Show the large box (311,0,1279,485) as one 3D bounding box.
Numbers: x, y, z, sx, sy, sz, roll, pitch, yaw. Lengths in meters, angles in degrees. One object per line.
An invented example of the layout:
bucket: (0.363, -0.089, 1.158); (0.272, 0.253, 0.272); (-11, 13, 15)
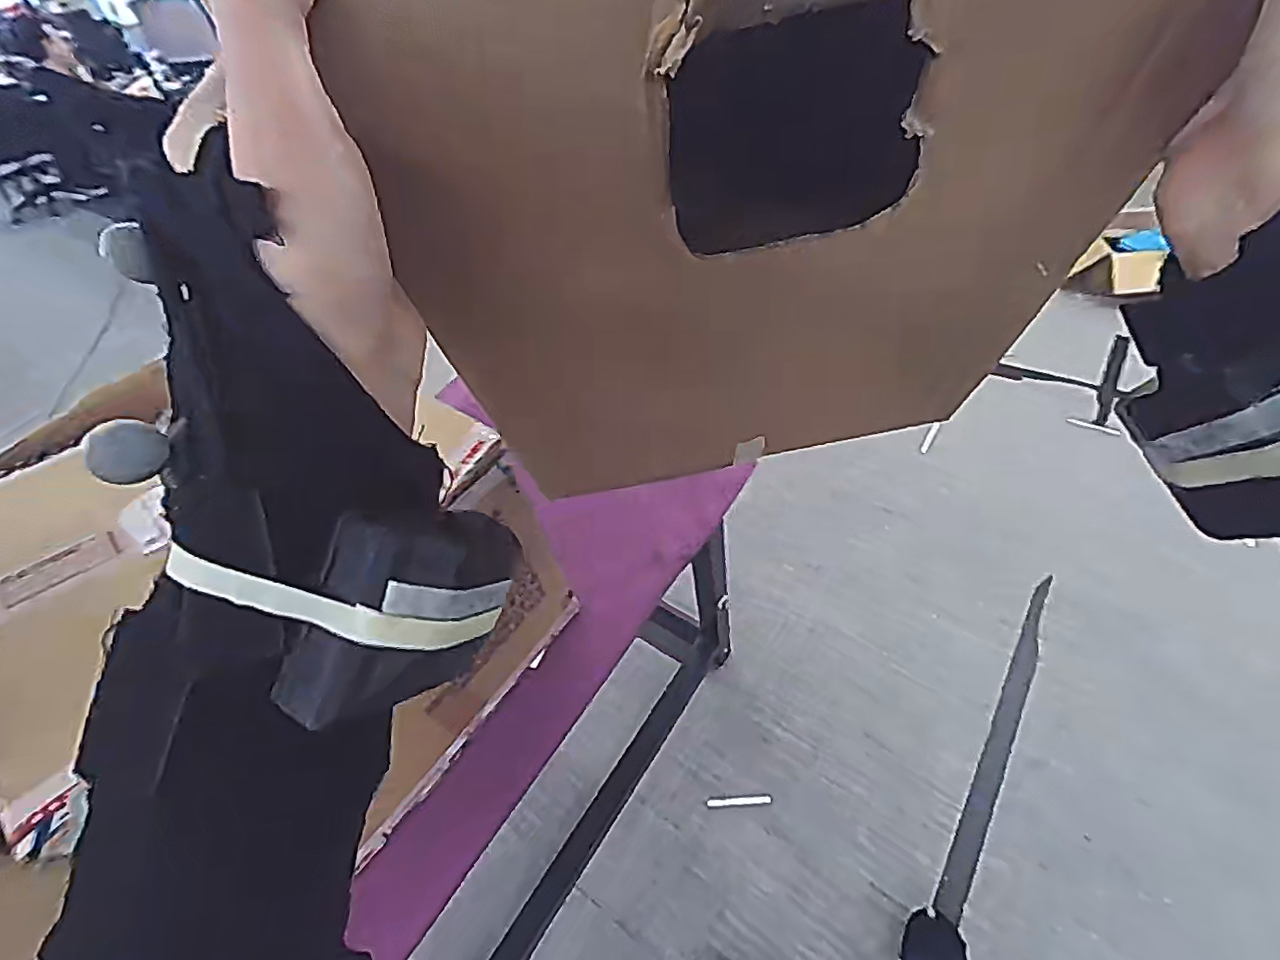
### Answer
large box: (0.039, -0.260, 0.357); (0.320, 0.320, 0.408); (-13, 65, 2)
